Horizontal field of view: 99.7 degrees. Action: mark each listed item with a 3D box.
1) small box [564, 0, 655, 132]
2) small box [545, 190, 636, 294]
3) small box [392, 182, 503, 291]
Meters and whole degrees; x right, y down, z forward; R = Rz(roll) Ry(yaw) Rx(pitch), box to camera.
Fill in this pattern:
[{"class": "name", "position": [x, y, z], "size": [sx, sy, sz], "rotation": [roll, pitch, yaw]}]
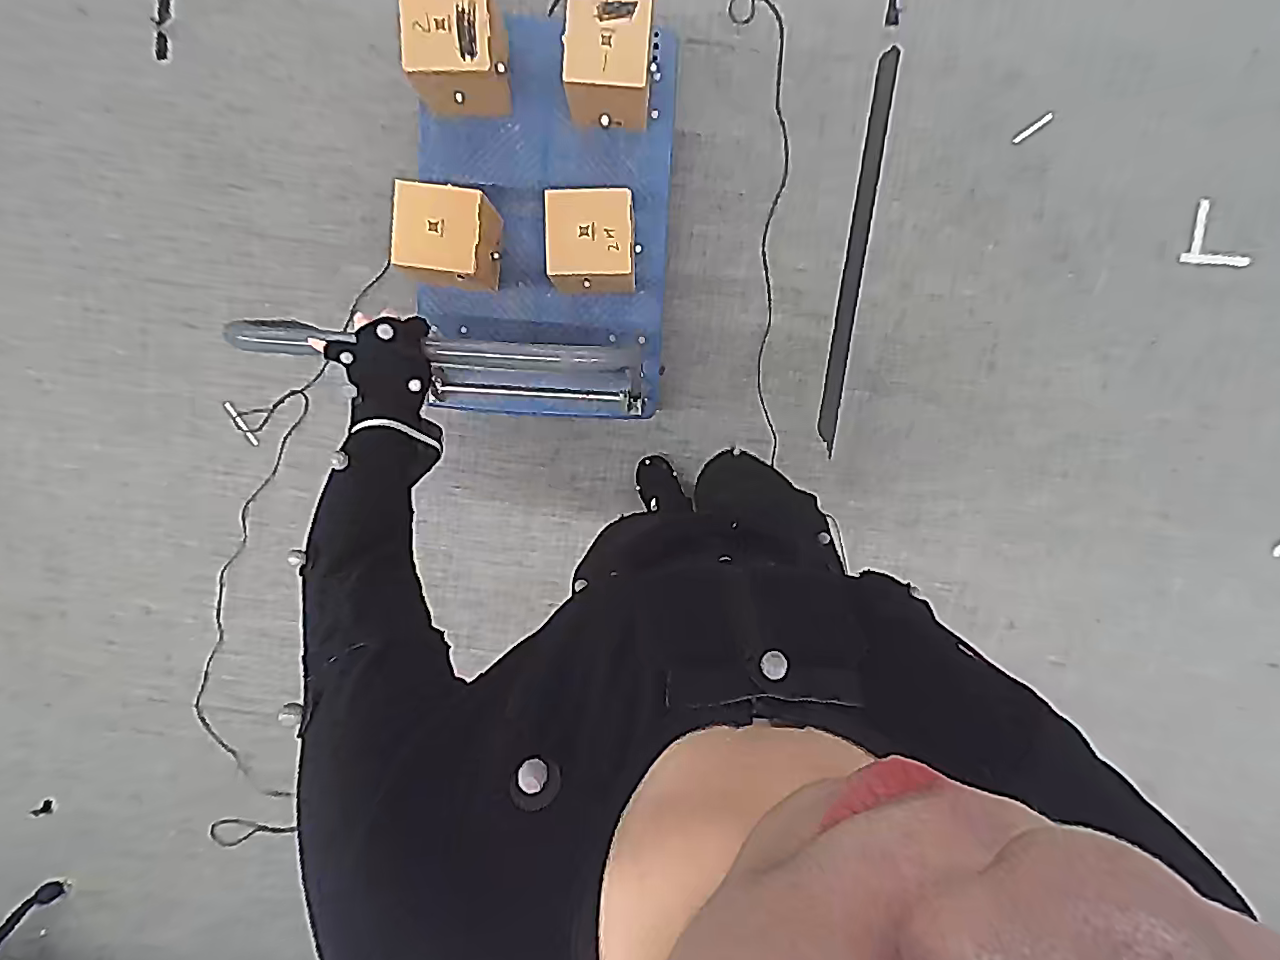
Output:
[{"class": "small box", "position": [-0.060, -0.864, 1.121], "size": [0.168, 0.176, 0.179], "rotation": [5, 98, 0]}, {"class": "small box", "position": [-0.100, -0.504, 1.164], "size": [0.179, 0.176, 0.168], "rotation": [0, 97, 1]}, {"class": "small box", "position": [-0.409, -0.516, 1.170], "size": [0.179, 0.176, 0.168], "rotation": [6, 97, -1]}]
